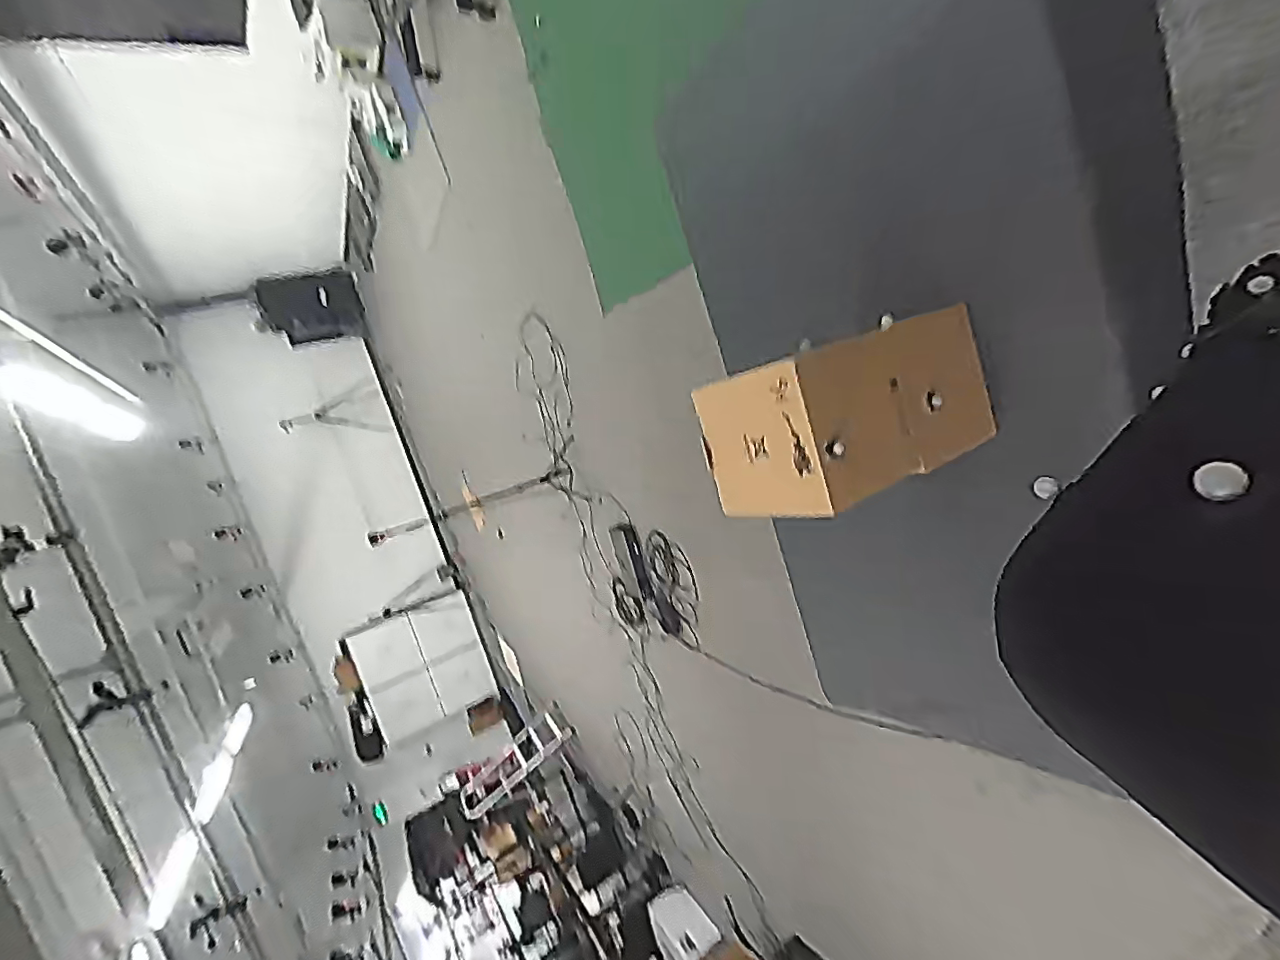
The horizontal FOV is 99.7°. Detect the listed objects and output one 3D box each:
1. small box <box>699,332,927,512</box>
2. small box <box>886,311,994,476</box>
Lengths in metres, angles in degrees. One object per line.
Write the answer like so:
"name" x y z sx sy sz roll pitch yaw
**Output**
"small box" 0.205 -0.066 0.657 0.179 0.176 0.168 -13 95 60
"small box" 0.341 -0.109 0.732 0.168 0.176 0.179 -9 99 61
